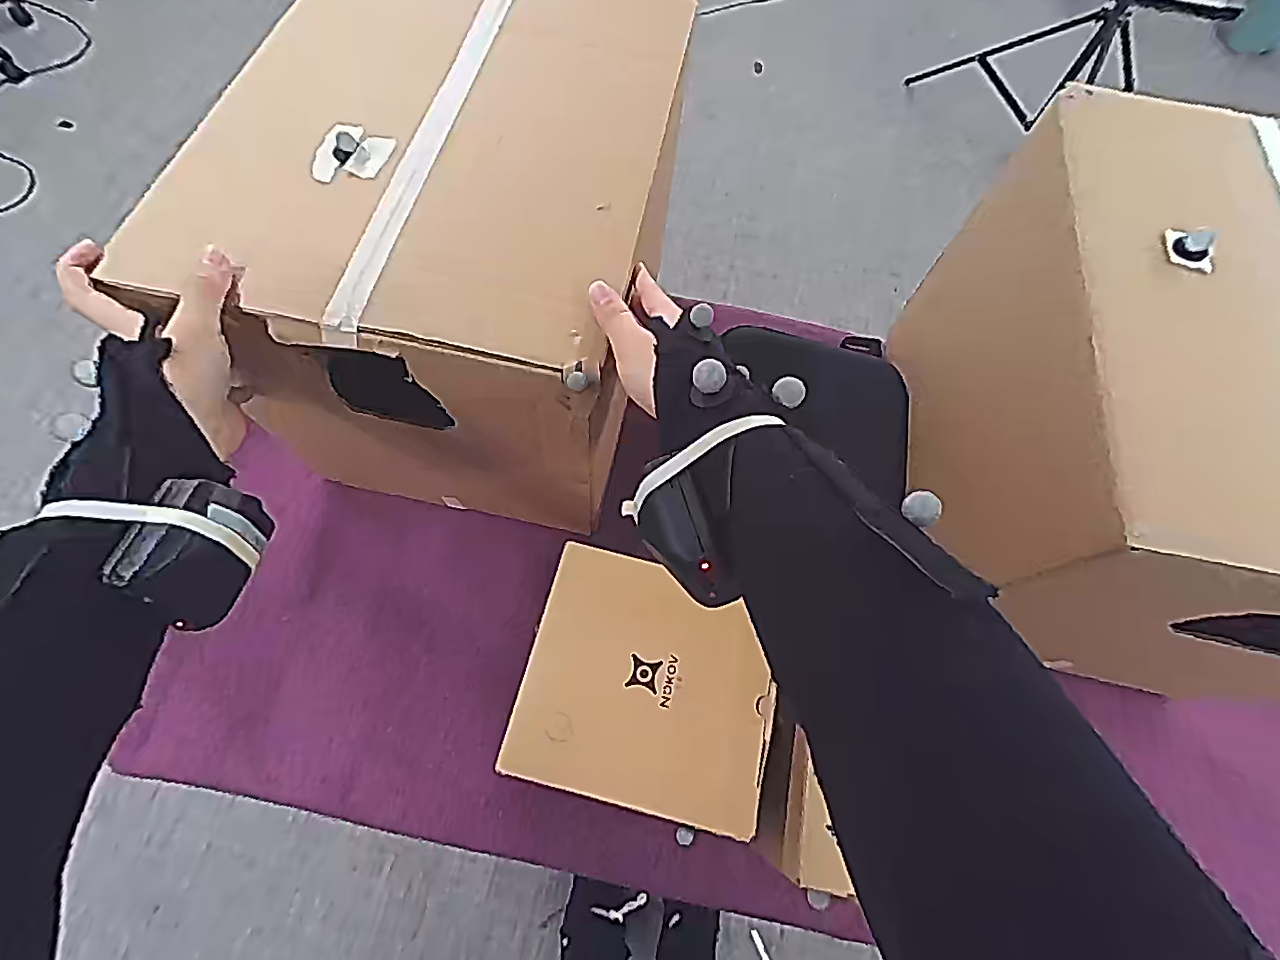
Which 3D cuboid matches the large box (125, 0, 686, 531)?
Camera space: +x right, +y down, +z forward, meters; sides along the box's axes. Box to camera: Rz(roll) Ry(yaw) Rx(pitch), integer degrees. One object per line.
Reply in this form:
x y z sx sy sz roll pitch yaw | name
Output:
-0.150 -0.202 0.544 0.320 0.320 0.408 10 68 1 | large box
